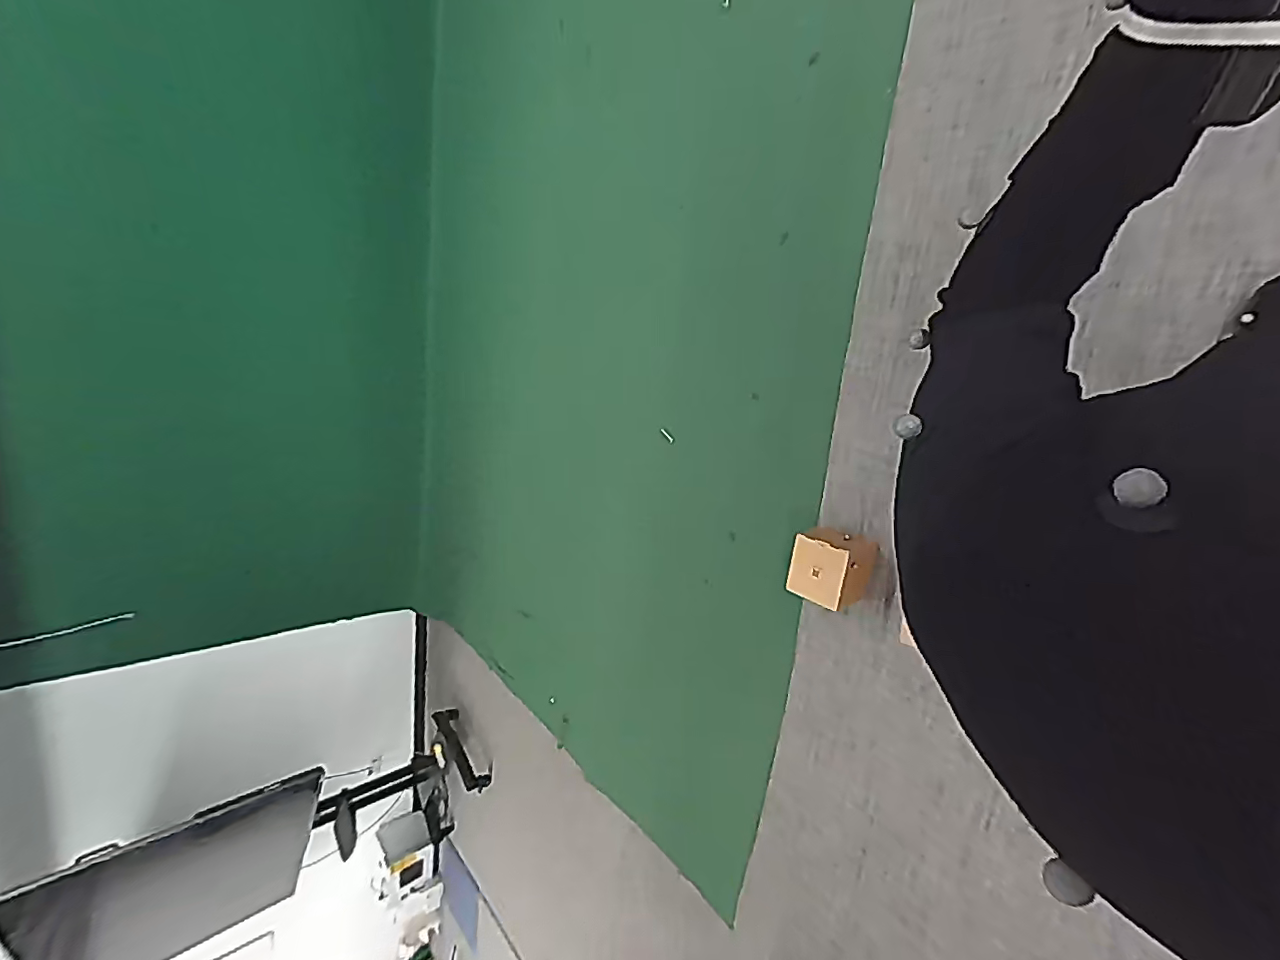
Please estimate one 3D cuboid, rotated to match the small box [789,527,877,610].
[{"bbox_3d":[0.554,0.245,1.548,0.168,0.176,0.179,20,107,45],"label":"small box"}]
